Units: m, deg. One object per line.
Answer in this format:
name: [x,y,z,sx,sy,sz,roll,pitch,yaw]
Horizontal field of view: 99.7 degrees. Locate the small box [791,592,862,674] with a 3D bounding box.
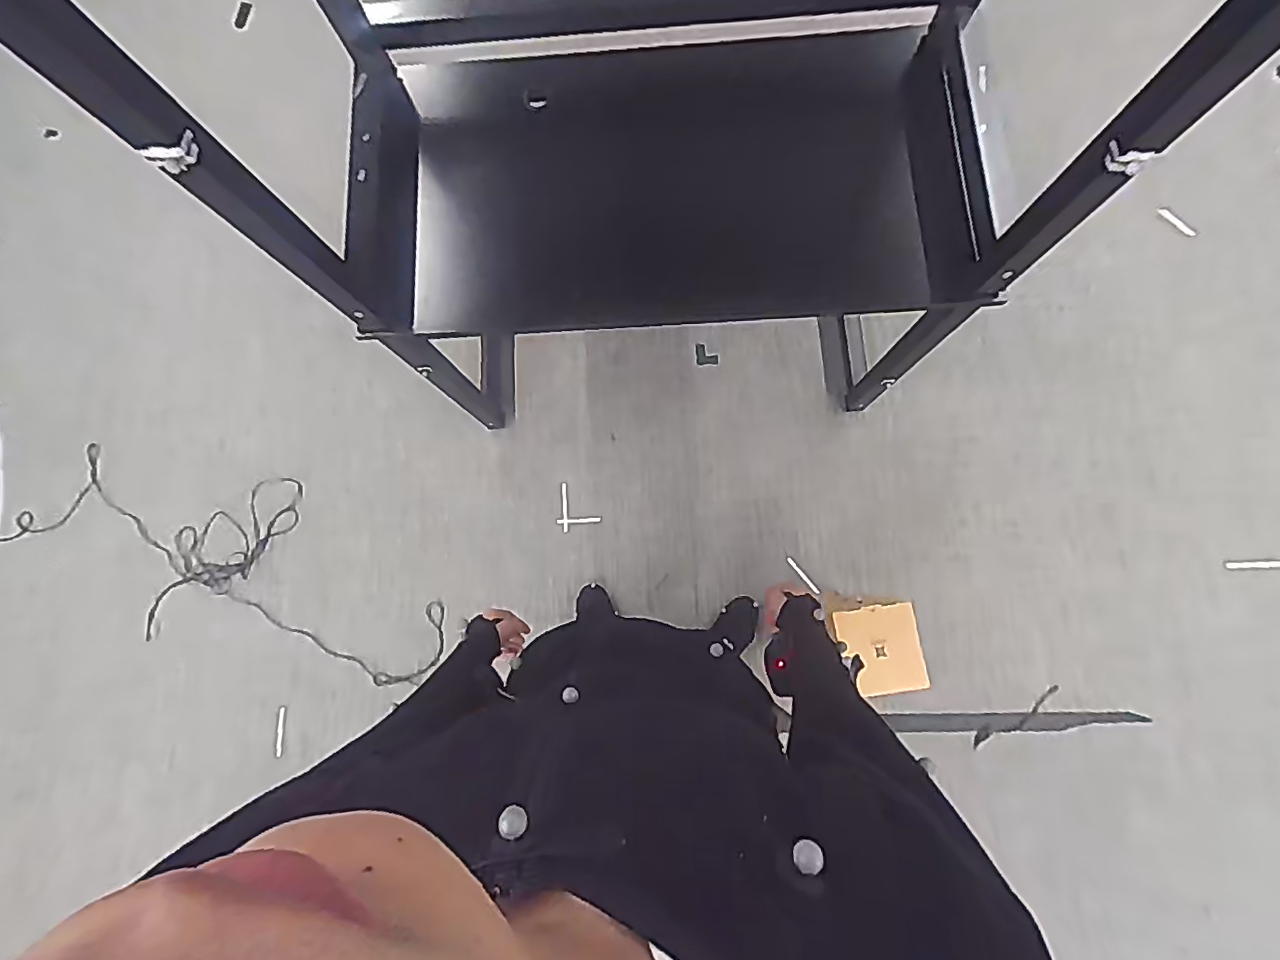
small box: [0.494,0.376,1.351,0.179,0.176,0.168,-8,81,2]

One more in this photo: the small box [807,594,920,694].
small box: [0.482,0.354,1.190,0.168,0.176,0.179,-9,80,1]
